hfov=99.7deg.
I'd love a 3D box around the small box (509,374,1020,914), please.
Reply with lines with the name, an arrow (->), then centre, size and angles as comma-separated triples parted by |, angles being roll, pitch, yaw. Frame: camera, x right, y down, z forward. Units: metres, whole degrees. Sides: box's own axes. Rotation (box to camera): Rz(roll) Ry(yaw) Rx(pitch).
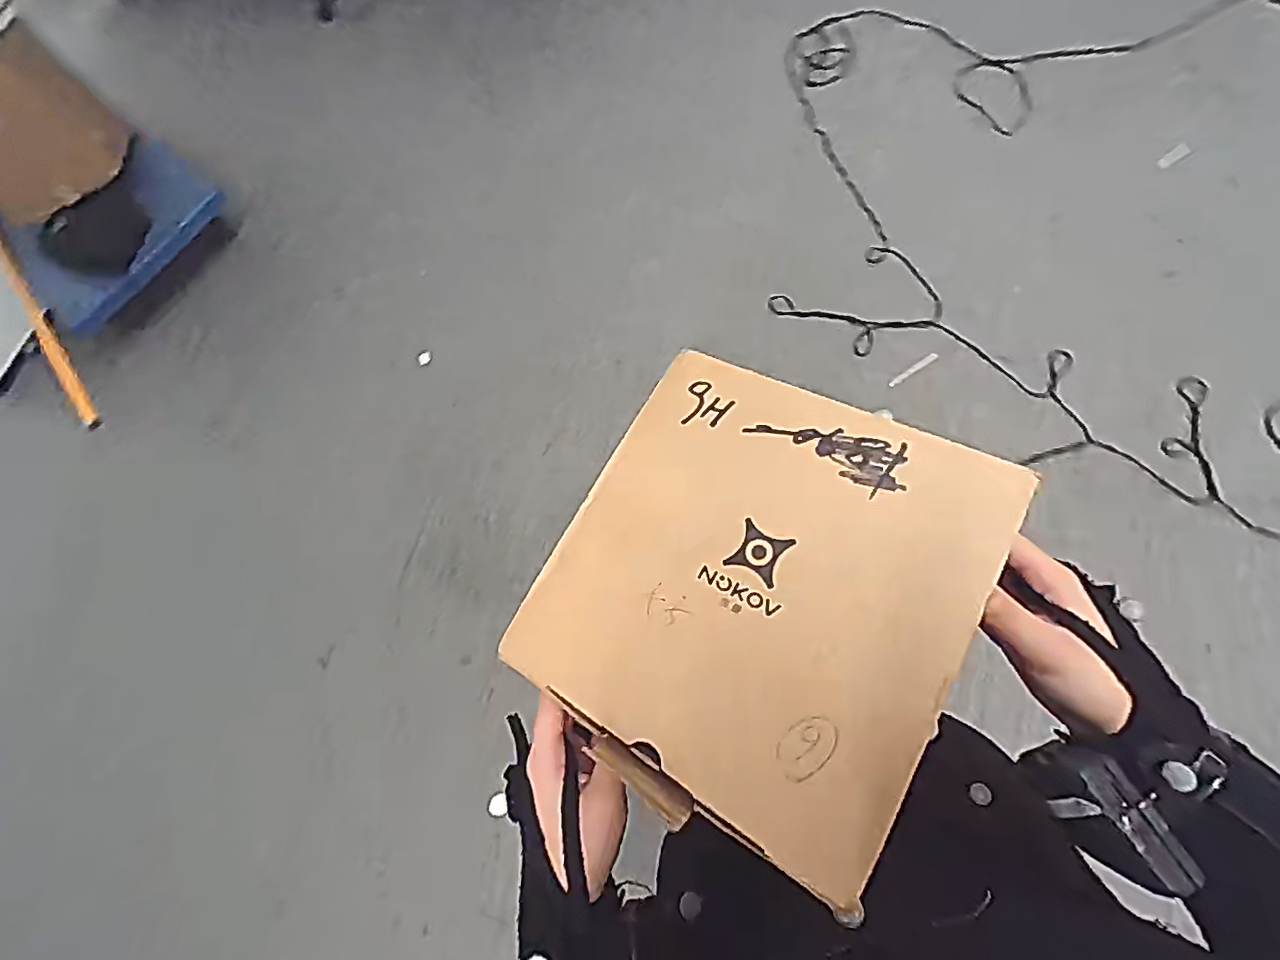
small box -> 0.068, 0.077, 0.307 | 0.168, 0.176, 0.179 | 27, 79, 24
